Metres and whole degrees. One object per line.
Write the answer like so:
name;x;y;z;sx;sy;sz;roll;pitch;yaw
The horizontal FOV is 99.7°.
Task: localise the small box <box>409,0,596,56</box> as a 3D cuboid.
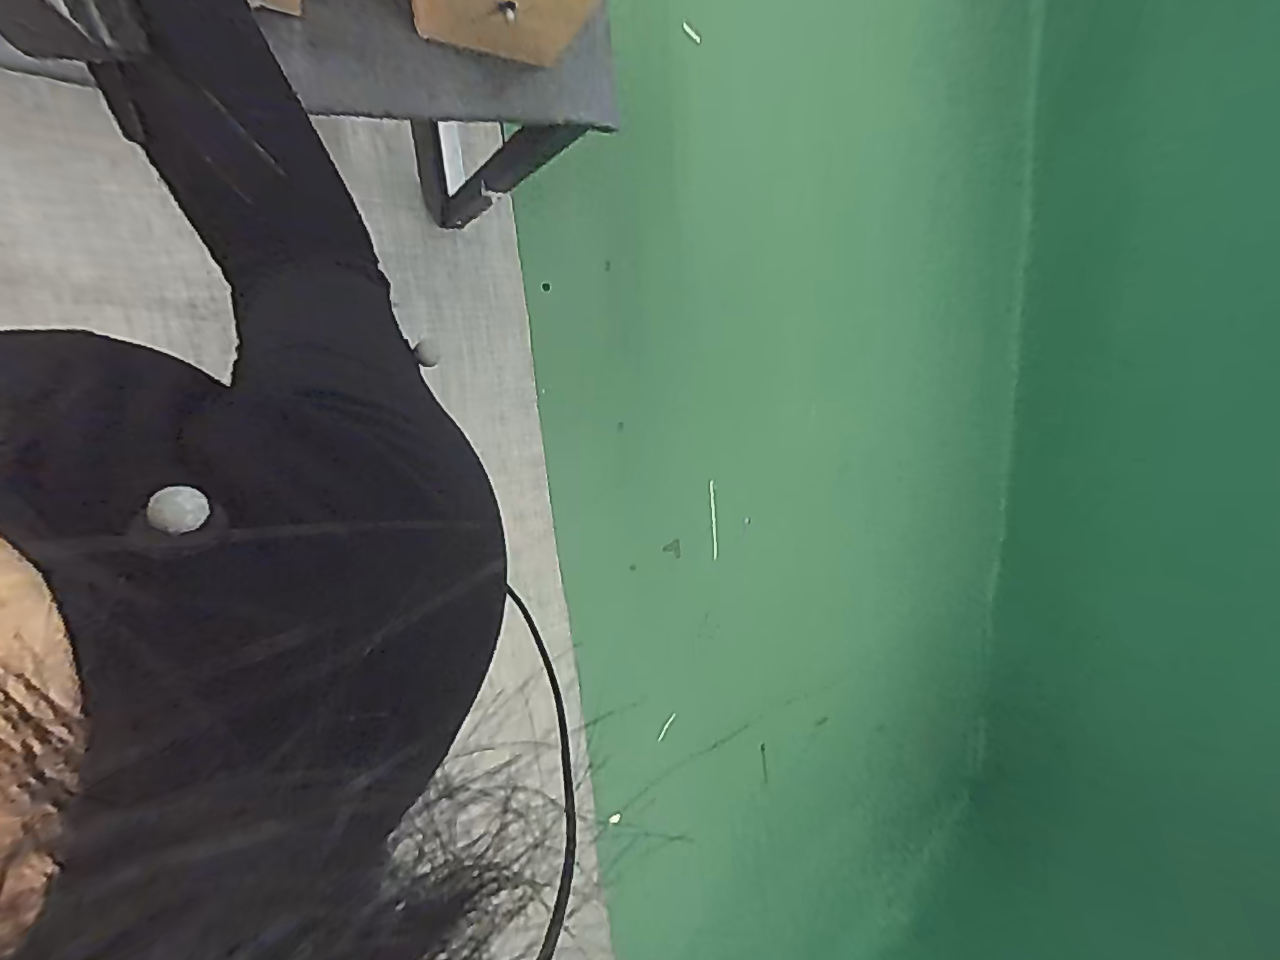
small box;-0.159;-0.621;0.606;0.179;0.176;0.168;-12;102;-32
